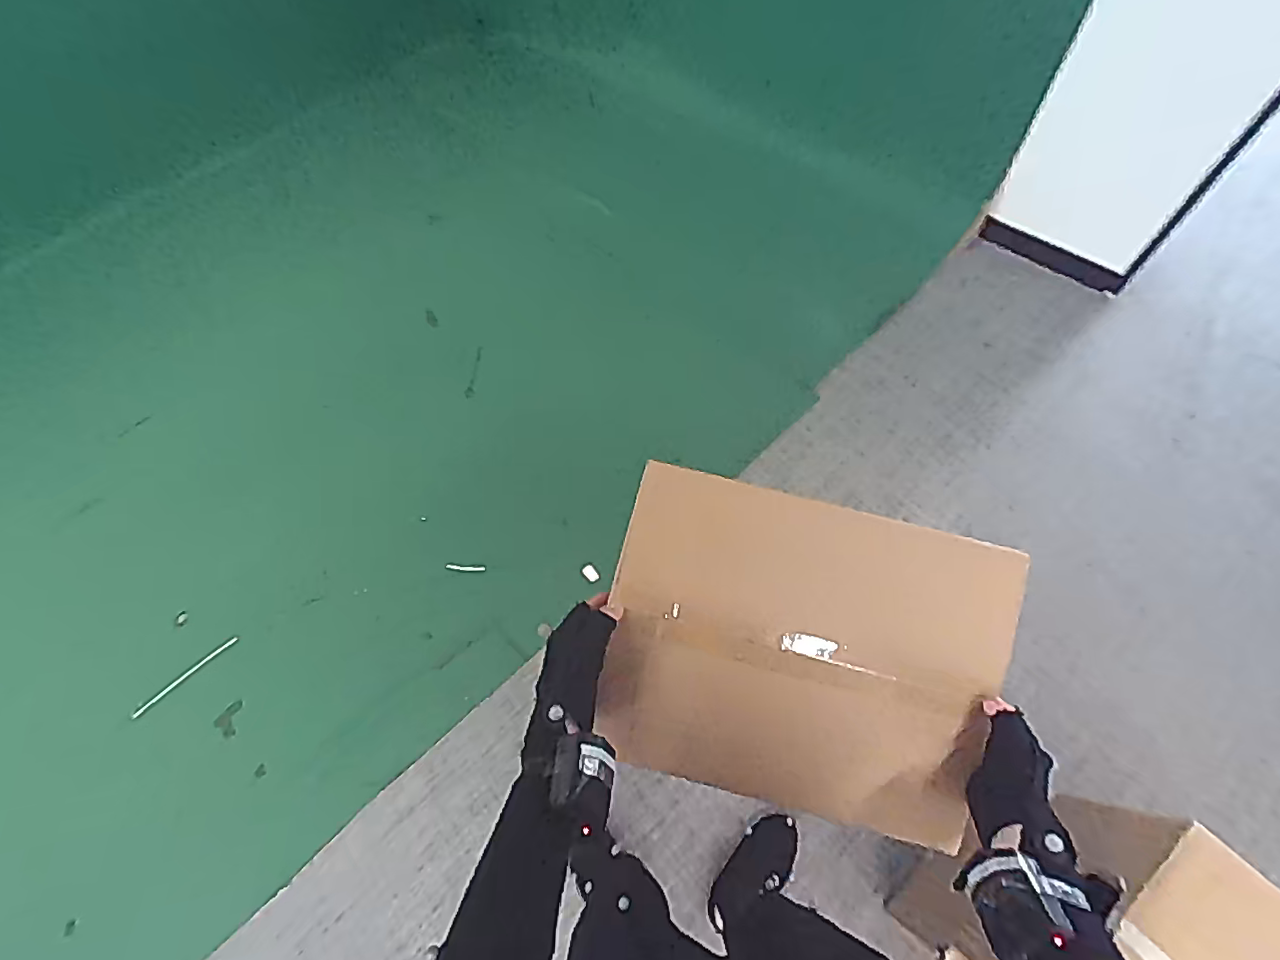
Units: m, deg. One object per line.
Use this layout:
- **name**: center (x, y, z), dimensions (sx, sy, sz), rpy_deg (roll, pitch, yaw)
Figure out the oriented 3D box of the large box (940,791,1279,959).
- **large box**: center (0.686, 0.683, 0.673), dimensions (0.320, 0.320, 0.408), rpy_deg (-42, 64, -9)
